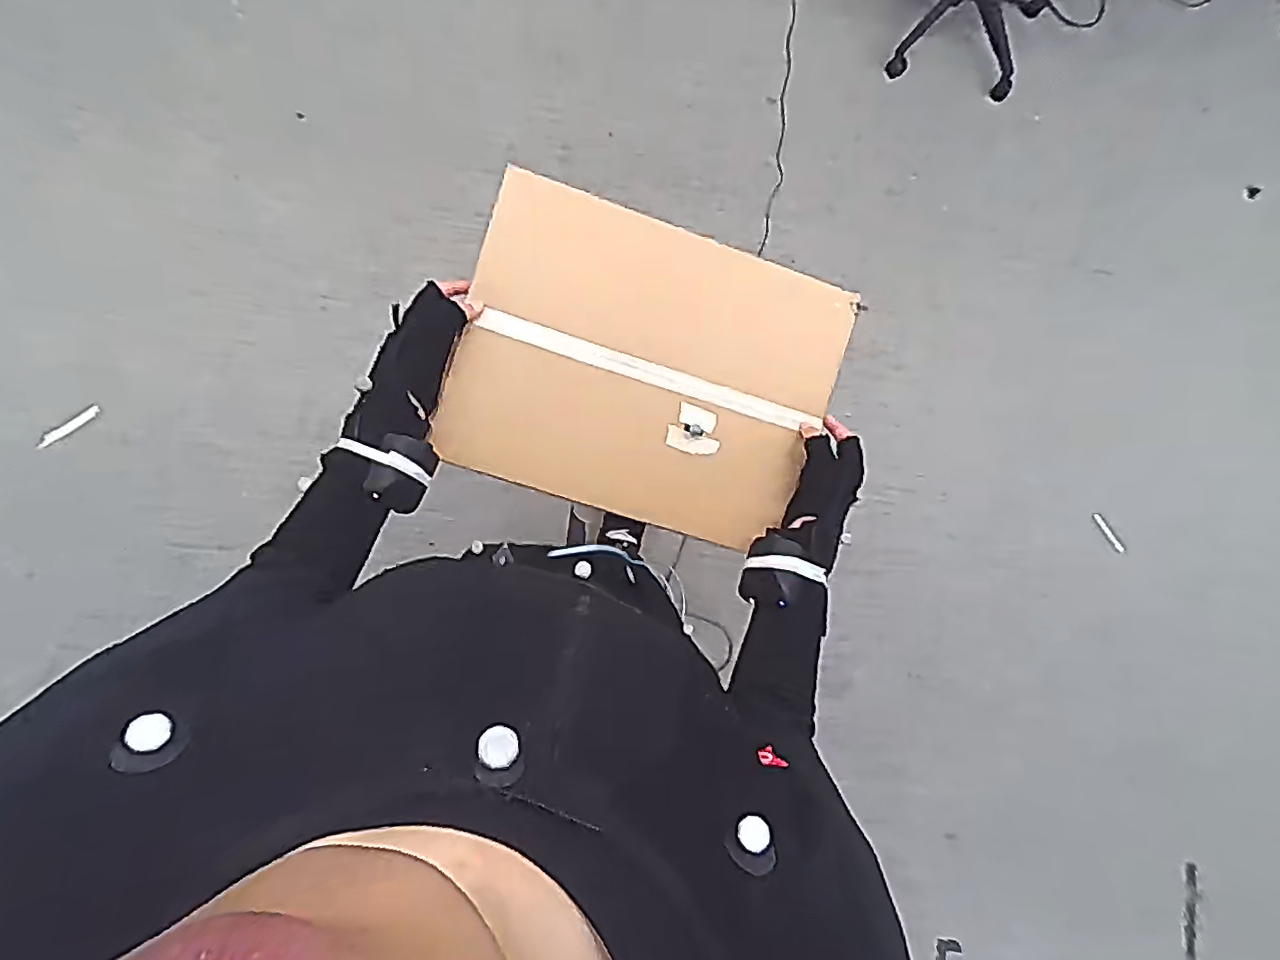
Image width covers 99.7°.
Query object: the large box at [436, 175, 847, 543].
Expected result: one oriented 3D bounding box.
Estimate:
[{"bbox_3d":[-0.009,-0.133,0.746,0.408,0.320,0.320,17,92,-8],"label":"large box"}]
